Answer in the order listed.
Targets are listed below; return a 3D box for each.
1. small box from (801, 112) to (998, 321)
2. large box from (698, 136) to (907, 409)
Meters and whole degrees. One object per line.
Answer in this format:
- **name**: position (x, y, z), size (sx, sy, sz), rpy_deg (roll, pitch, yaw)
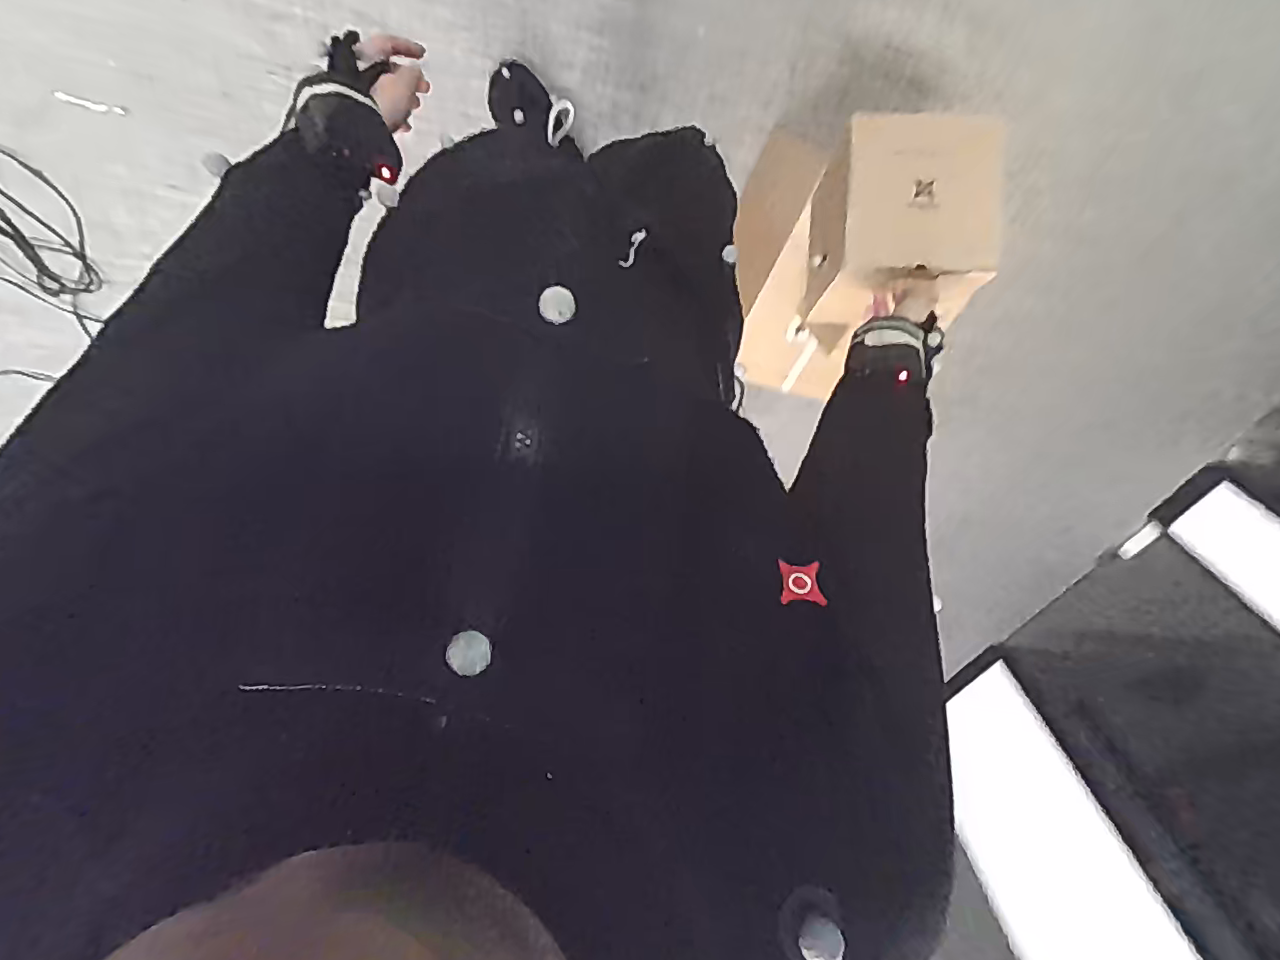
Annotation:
- **small box**: position (0.300, -0.304, 0.656), size (0.168, 0.179, 0.176), rpy_deg (2, 175, 2)
- **large box**: position (0.361, -0.426, 1.138), size (0.320, 0.320, 0.408), rpy_deg (13, 130, -17)
